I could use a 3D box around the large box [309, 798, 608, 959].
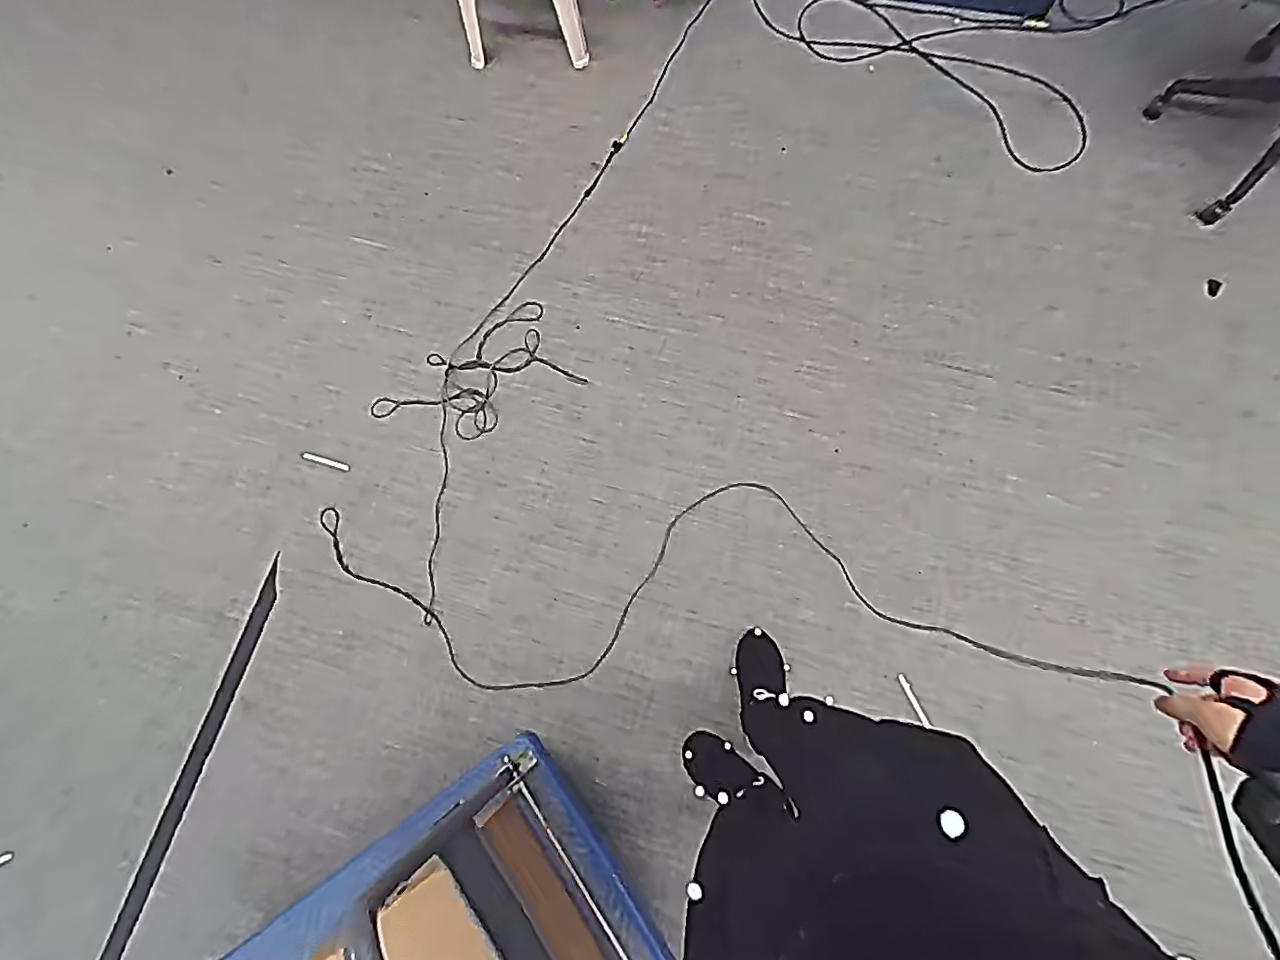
[{"bbox_3d":[-0.277,0.839,0.888,0.320,0.320,0.408,-36,76,-6],"label":"large box"}]
